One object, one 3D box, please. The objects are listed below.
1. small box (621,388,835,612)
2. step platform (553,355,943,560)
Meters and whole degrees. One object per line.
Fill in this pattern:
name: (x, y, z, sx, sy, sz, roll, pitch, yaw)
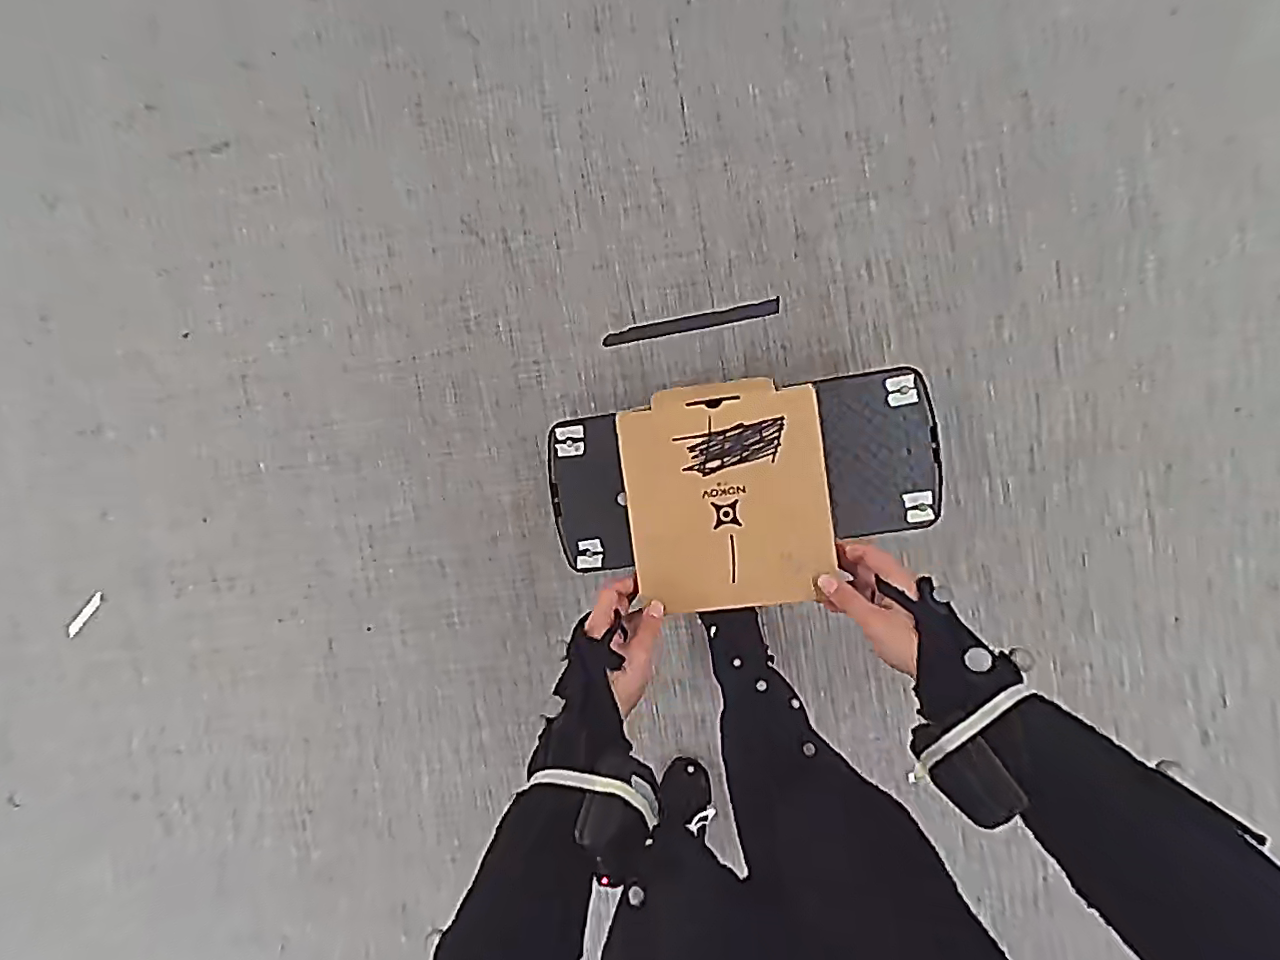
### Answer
small box: (0.079, 0.018, 0.533, 0.168, 0.176, 0.179, -7, 90, 6)
step platform: (0.184, -0.035, 1.014, 0.684, 0.204, 0.286, -9, 91, 6)
